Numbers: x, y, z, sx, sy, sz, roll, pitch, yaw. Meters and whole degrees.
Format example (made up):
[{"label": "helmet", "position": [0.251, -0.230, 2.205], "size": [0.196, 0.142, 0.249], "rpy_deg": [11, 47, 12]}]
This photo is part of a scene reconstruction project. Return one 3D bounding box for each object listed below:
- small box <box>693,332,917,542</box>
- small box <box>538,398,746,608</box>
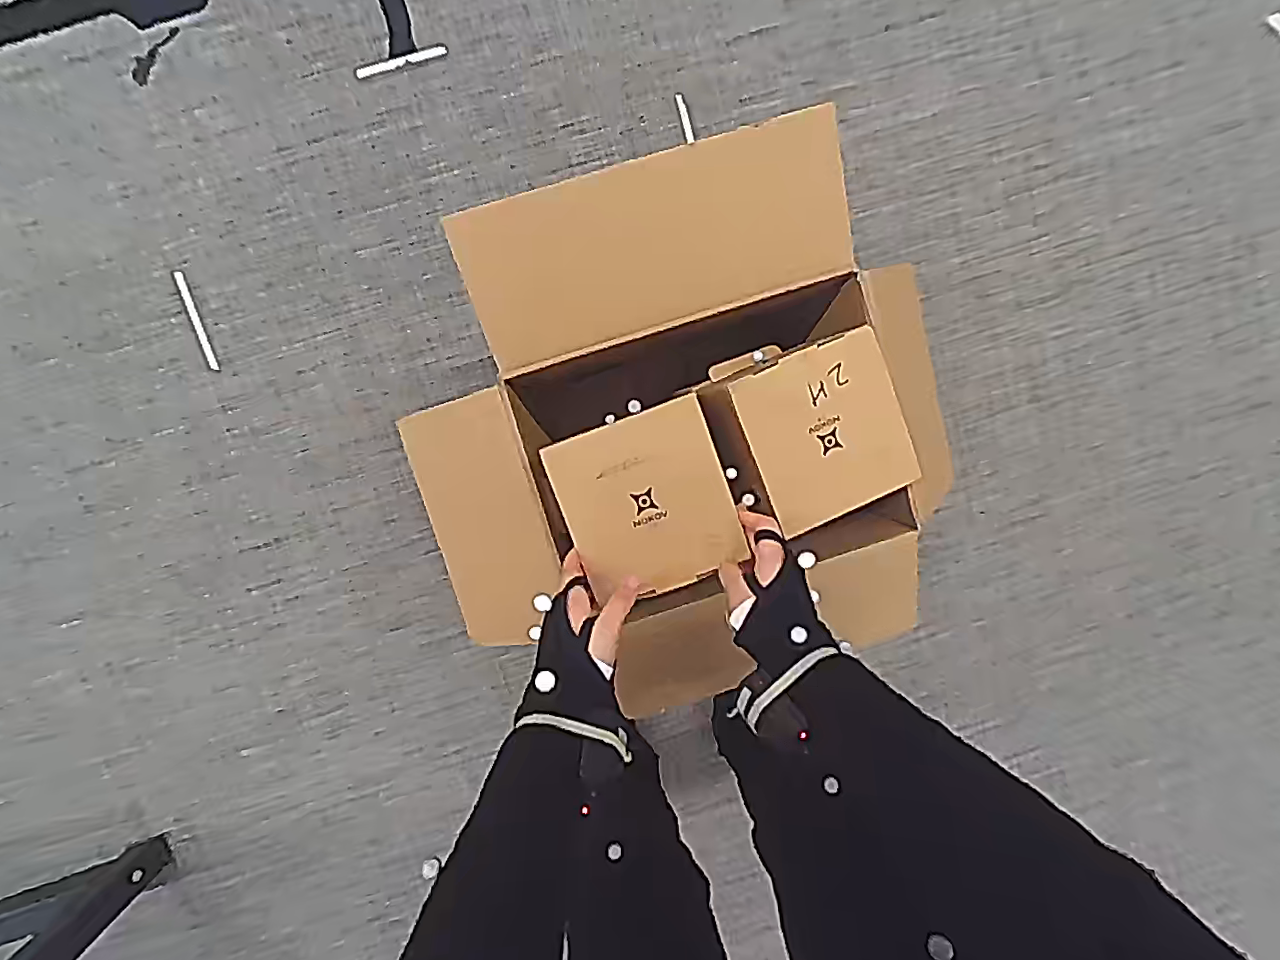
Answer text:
[{"label": "small box", "position": [0.179, -0.053, 0.633], "size": [0.168, 0.176, 0.179], "rpy_deg": [-24, 99, -5]}, {"label": "small box", "position": [0.009, 0.015, 0.613], "size": [0.168, 0.176, 0.179], "rpy_deg": [-20, 95, 6]}]
